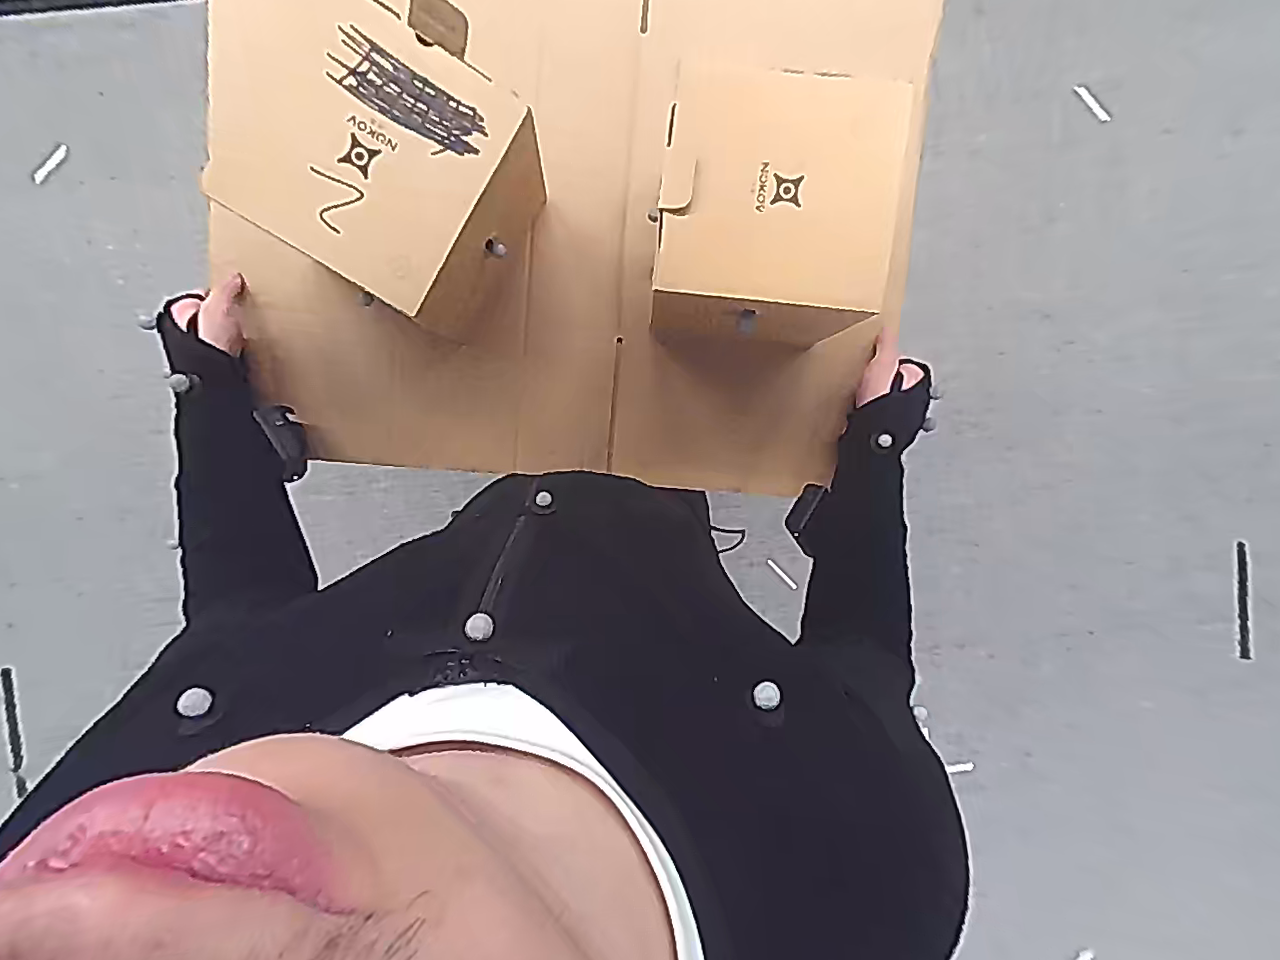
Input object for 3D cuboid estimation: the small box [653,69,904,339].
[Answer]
[{"bbox_3d":[0.107,-0.229,0.496,0.179,0.176,0.168,6,96,1],"label":"small box"}]
